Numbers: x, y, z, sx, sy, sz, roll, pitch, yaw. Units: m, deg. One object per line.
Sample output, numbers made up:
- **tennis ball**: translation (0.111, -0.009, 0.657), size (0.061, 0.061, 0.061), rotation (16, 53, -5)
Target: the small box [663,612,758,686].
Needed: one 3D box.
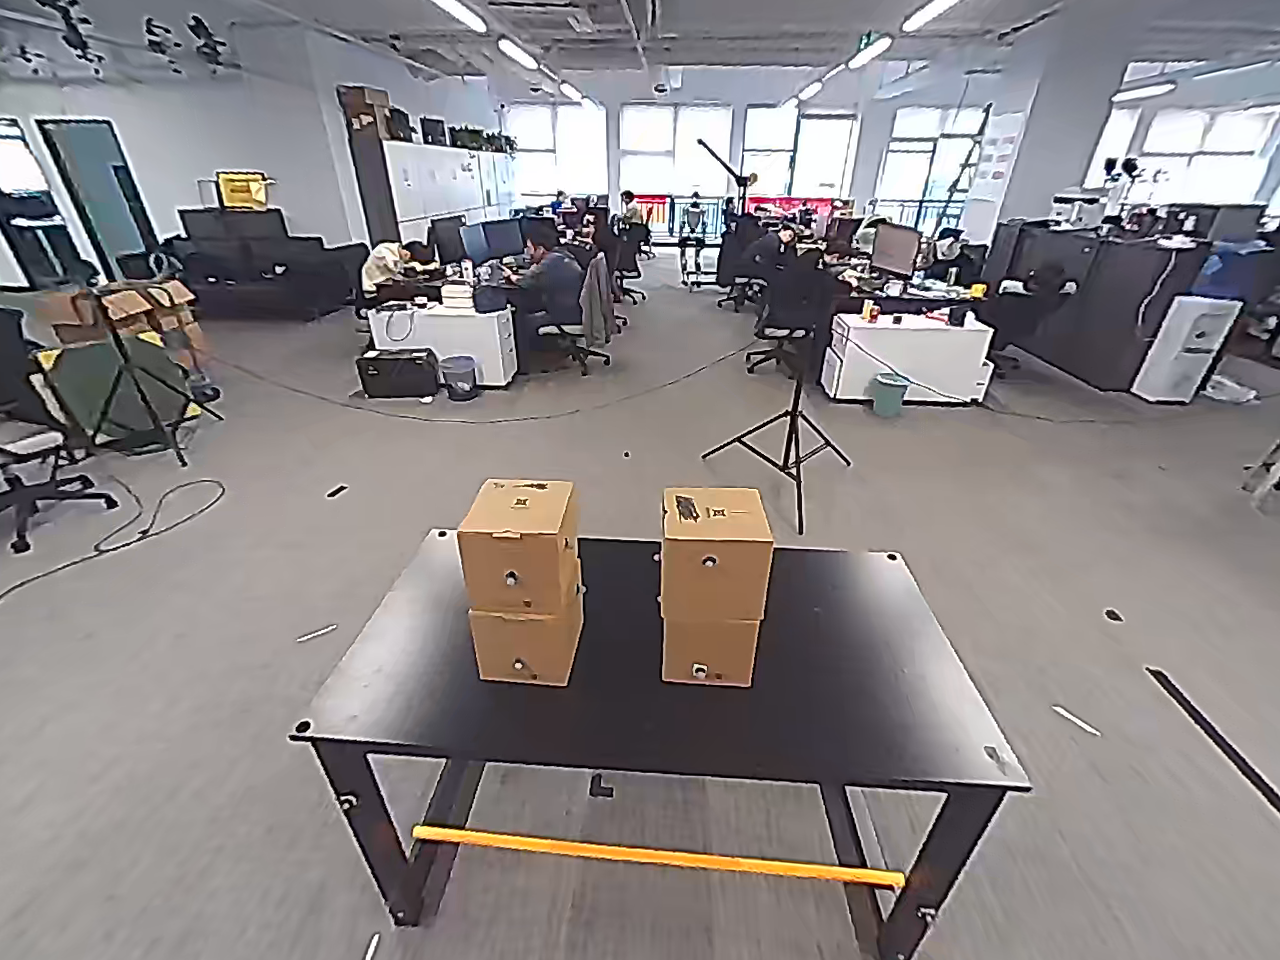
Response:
- **small box**: translation (0.129, 0.270, 1.045), size (0.168, 0.176, 0.179), rotation (0, 30, 3)

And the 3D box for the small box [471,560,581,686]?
- **small box**: translation (-0.209, 0.267, 1.044), size (0.168, 0.176, 0.179), rotation (2, 29, 5)

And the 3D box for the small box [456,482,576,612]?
- **small box**: translation (-0.211, 0.119, 0.973), size (0.168, 0.176, 0.179), rotation (1, 30, 2)

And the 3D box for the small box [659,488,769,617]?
- **small box**: translation (0.123, 0.127, 0.962), size (0.179, 0.176, 0.168), rotation (0, 29, 2)
